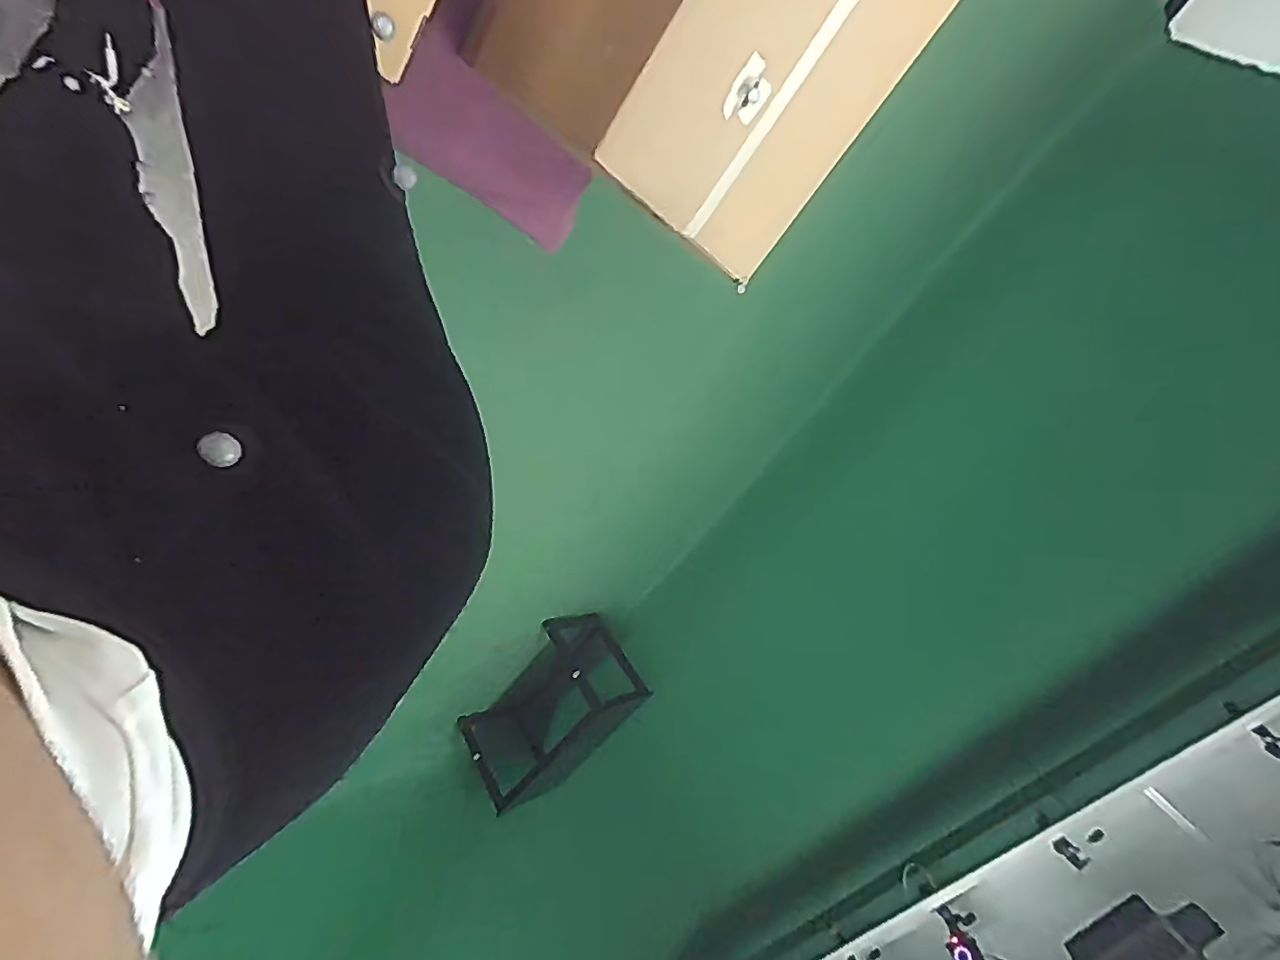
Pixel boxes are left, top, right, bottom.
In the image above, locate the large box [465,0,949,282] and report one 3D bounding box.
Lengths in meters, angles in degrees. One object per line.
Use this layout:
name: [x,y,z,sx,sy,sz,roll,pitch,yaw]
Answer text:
large box: [0.074,-0.526,0.616,0.320,0.320,0.408,9,126,-53]
